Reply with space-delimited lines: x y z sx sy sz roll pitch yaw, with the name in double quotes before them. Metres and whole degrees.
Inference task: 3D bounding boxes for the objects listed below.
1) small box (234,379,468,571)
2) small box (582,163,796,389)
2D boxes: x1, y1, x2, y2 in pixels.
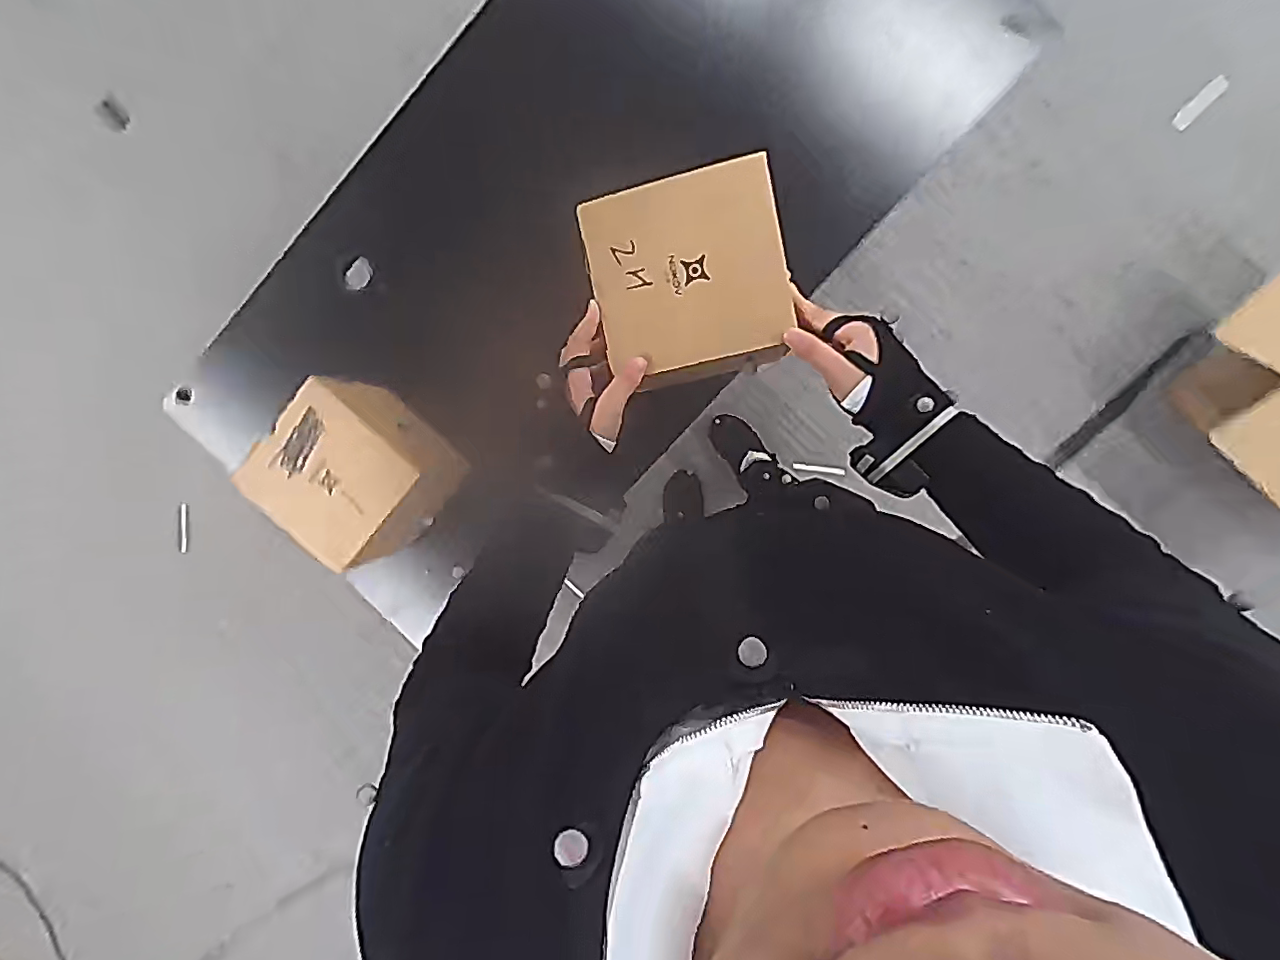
"small box" -0.369 -0.009 0.723 0.179 0.176 0.168 41 96 -1
"small box" 0.054 -0.195 0.570 0.179 0.176 0.168 -10 94 10
